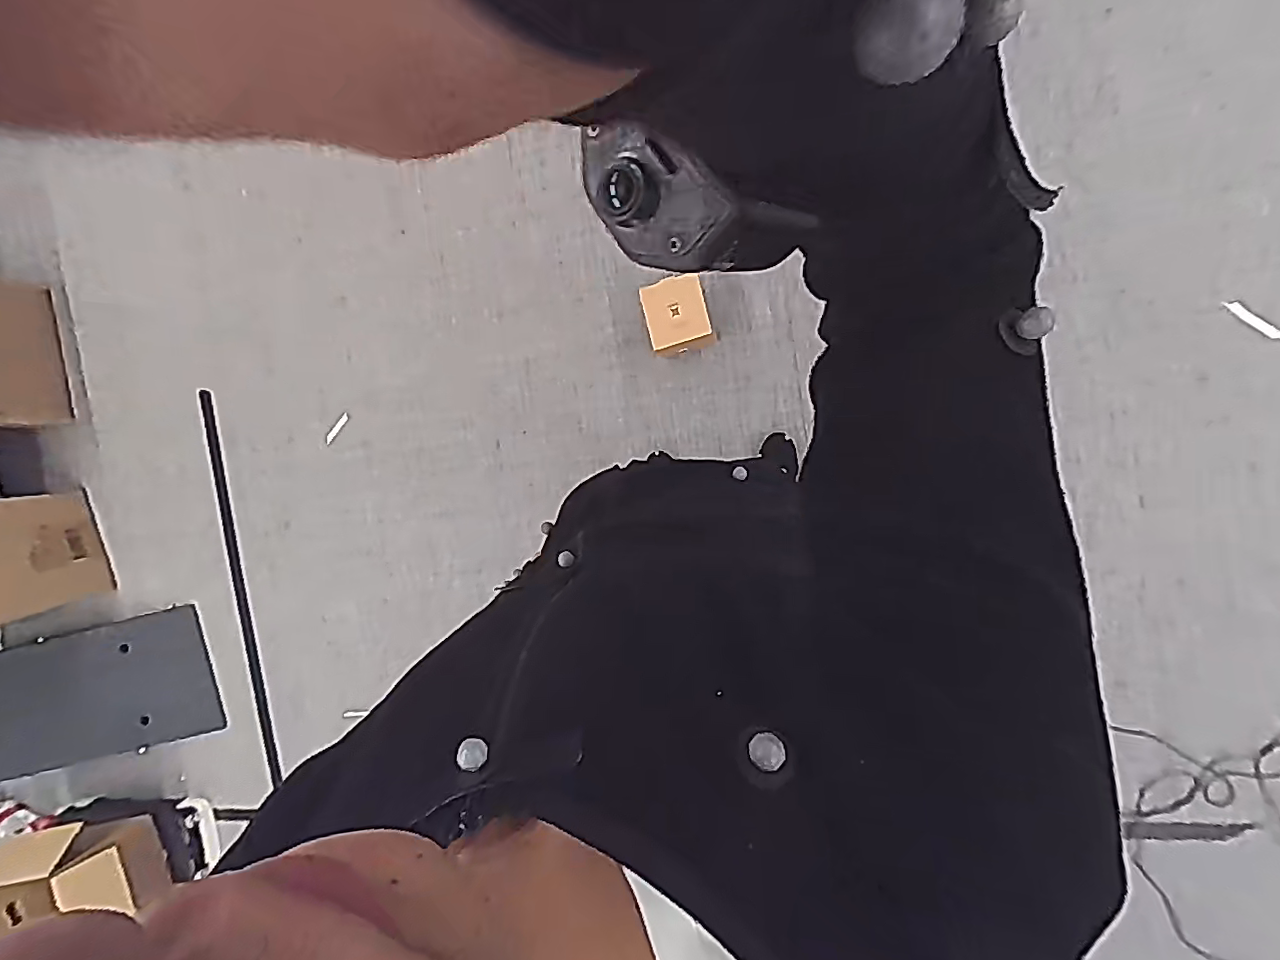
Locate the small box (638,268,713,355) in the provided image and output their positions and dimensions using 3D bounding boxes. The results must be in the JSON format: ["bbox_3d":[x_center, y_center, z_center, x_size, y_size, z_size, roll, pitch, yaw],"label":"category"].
[{"bbox_3d":[0.104,-0.465,1.520,0.168,0.176,0.179,-14,92,13],"label":"small box"}]
